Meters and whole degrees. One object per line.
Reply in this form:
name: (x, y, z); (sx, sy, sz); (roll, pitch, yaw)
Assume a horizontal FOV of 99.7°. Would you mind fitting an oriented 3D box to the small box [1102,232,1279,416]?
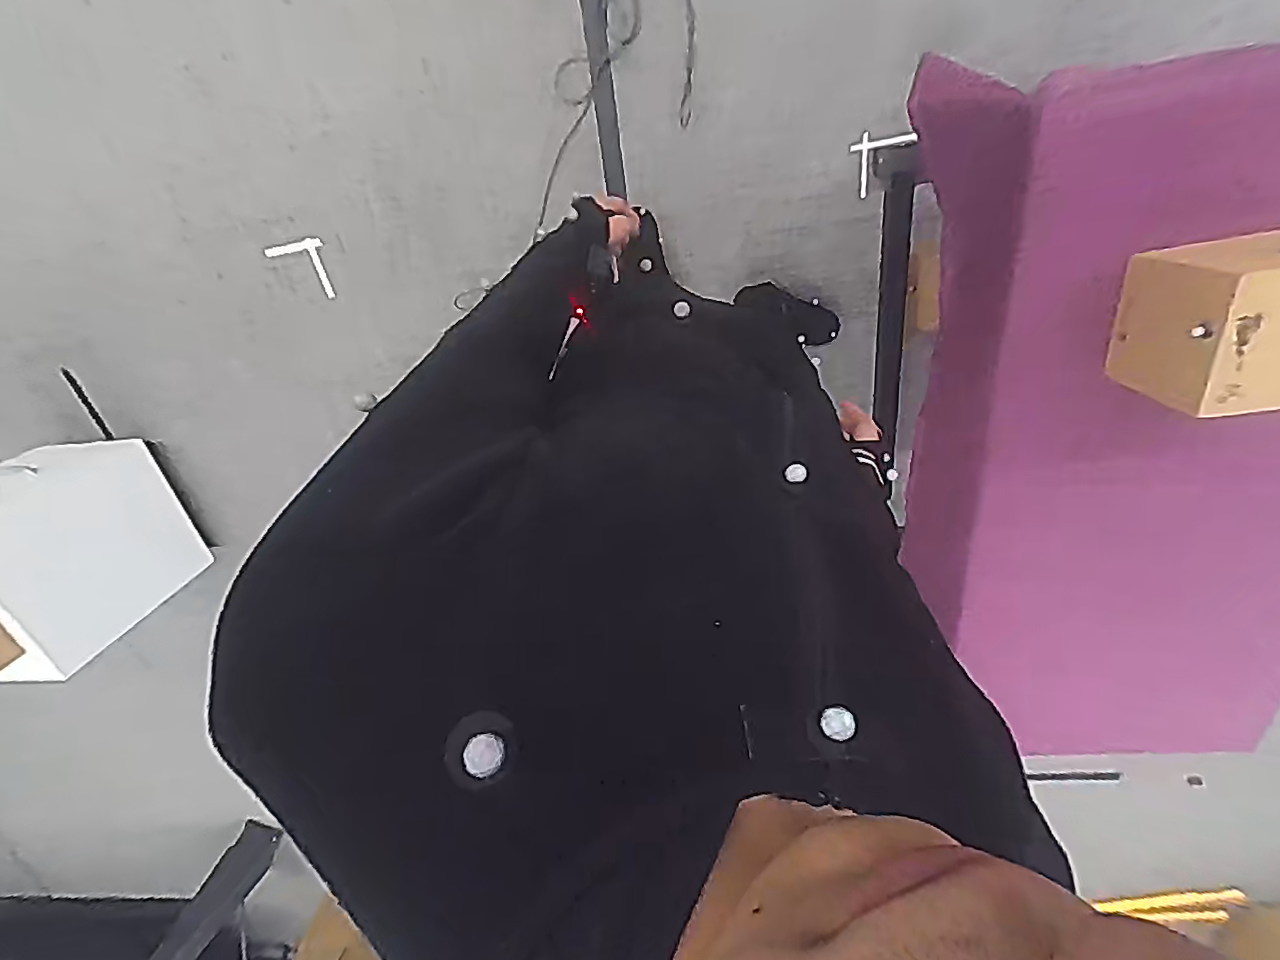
small box: (0.727, -0.194, 0.656); (0.179, 0.176, 0.168); (-7, 118, 9)
